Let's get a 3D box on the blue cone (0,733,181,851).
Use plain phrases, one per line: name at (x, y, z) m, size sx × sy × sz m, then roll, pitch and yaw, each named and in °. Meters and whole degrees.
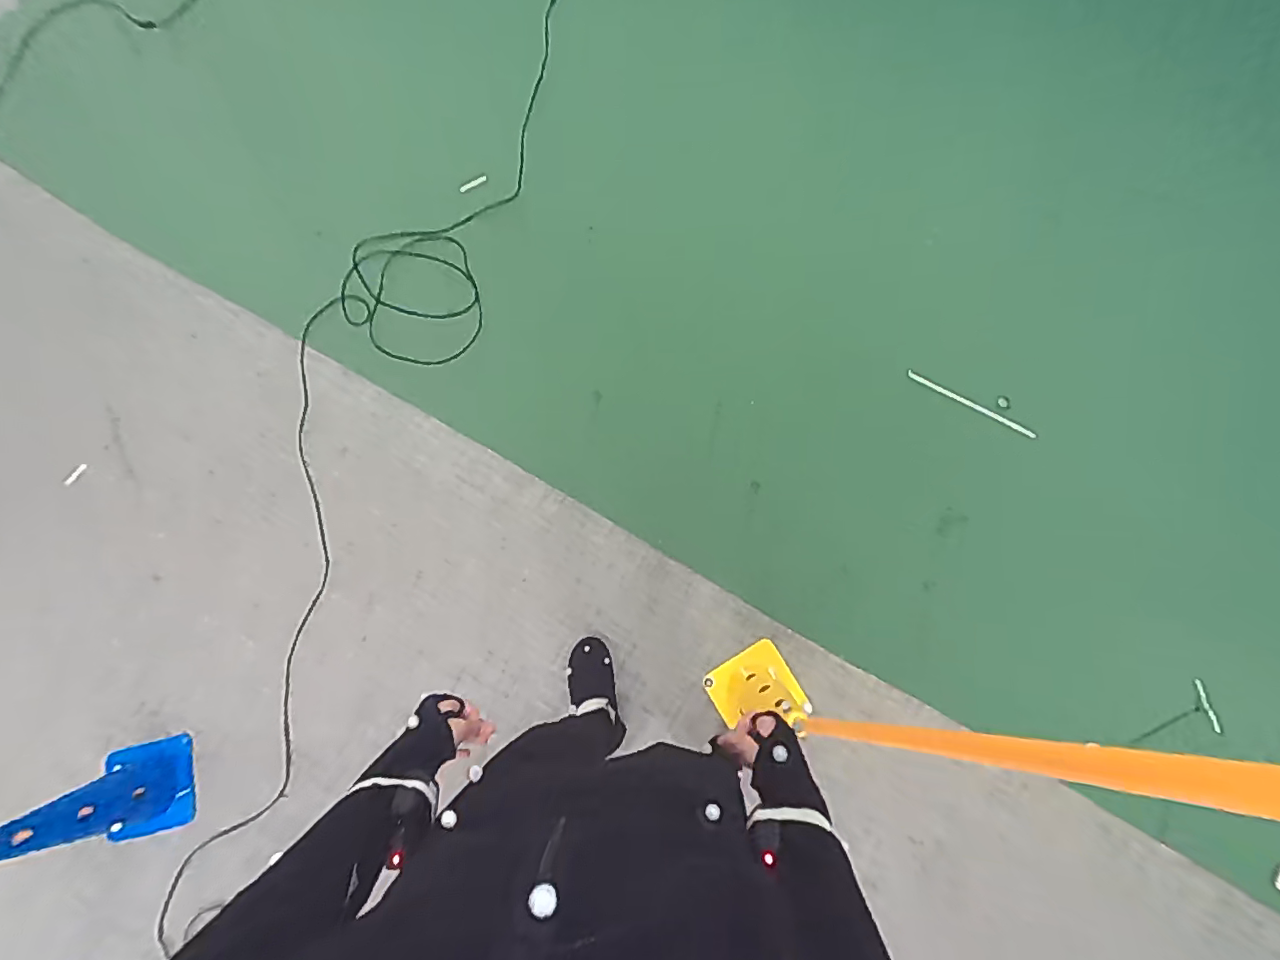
blue cone at (-1.152, 0.666, 1.076) m, size 0.193 × 0.380 × 0.192 m, roll -15°, pitch 78°, yaw -1°
